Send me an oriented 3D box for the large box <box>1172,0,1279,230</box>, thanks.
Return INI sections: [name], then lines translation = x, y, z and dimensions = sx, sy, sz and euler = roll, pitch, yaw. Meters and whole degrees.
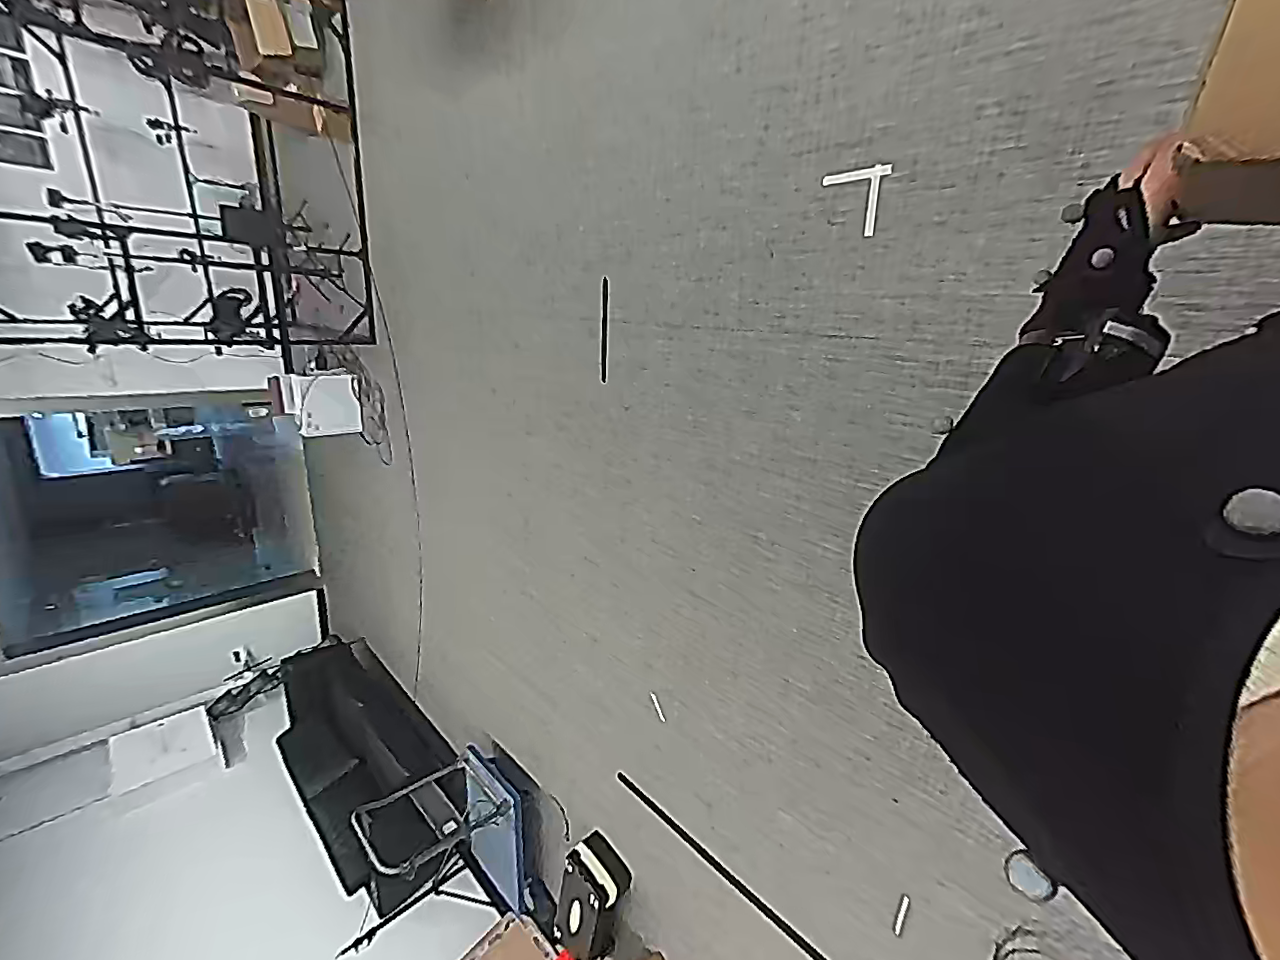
[large box]
translation = 0.499, -0.264, 0.177
dimensions = 0.408, 0.320, 0.320
euler = 22, 119, 38
